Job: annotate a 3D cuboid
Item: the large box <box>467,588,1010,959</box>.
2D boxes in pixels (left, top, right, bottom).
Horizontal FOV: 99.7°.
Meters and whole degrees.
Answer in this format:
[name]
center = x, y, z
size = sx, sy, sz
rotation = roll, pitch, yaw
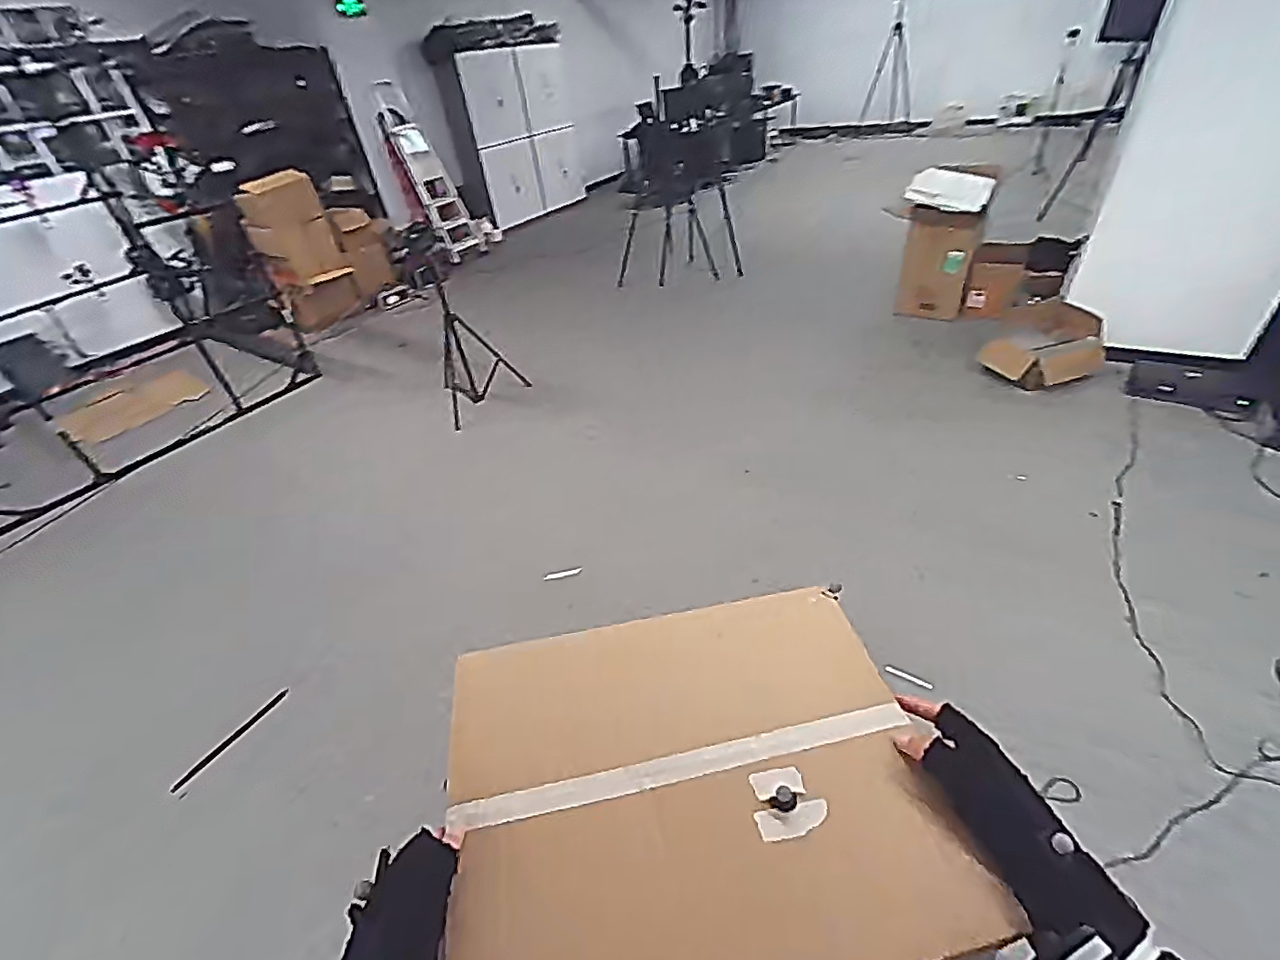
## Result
[large box]
center = 0.055, 0.364, 0.574
size = 0.408, 0.320, 0.320
rotation = -9, 40, -8
